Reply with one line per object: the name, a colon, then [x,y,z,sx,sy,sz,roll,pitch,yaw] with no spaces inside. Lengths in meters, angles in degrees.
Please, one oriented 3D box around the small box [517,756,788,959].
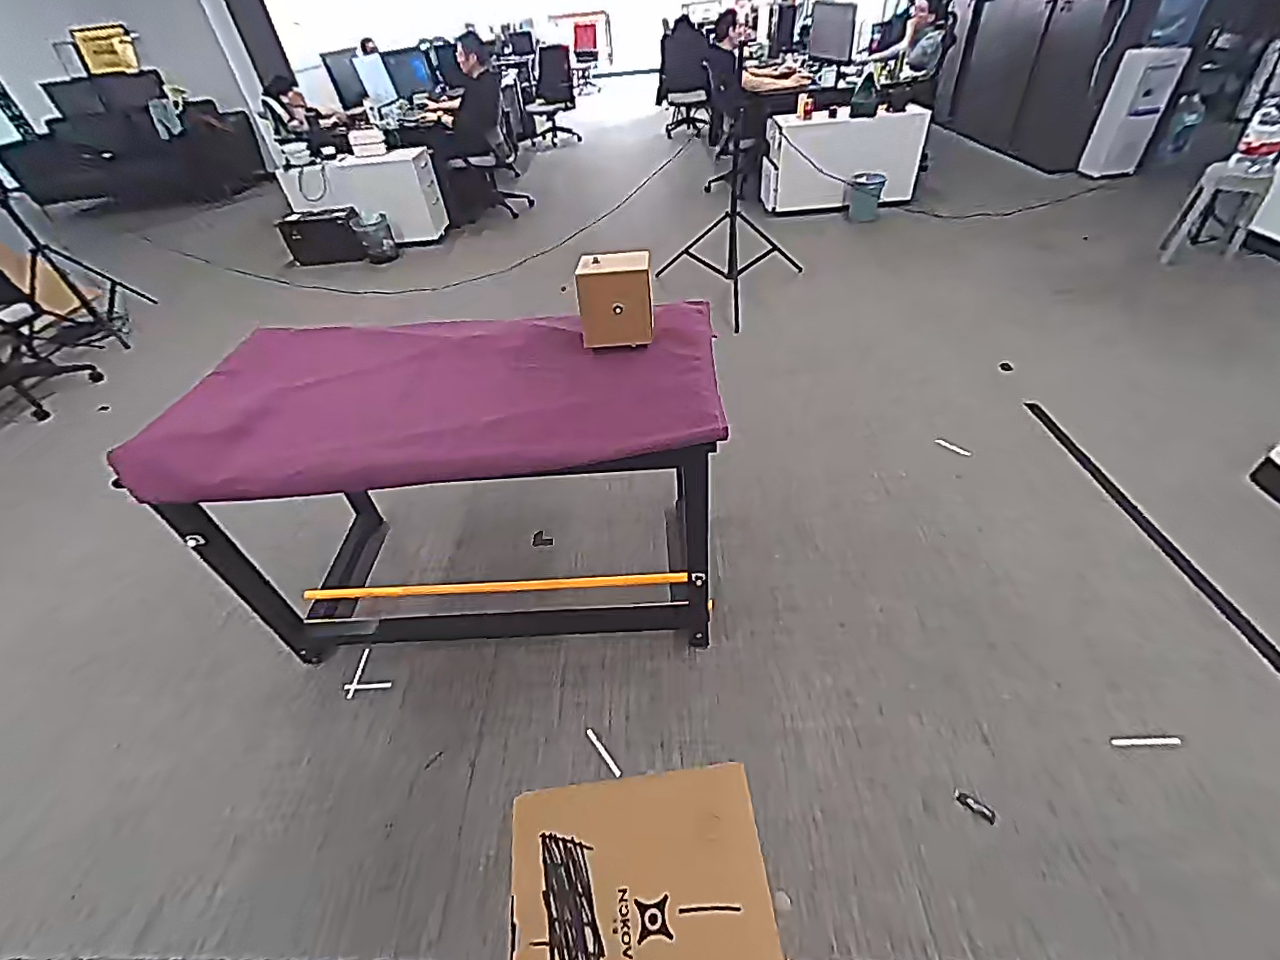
small box: [0.015,0.331,0.420,0.179,0.176,0.168,-10,53,3]
